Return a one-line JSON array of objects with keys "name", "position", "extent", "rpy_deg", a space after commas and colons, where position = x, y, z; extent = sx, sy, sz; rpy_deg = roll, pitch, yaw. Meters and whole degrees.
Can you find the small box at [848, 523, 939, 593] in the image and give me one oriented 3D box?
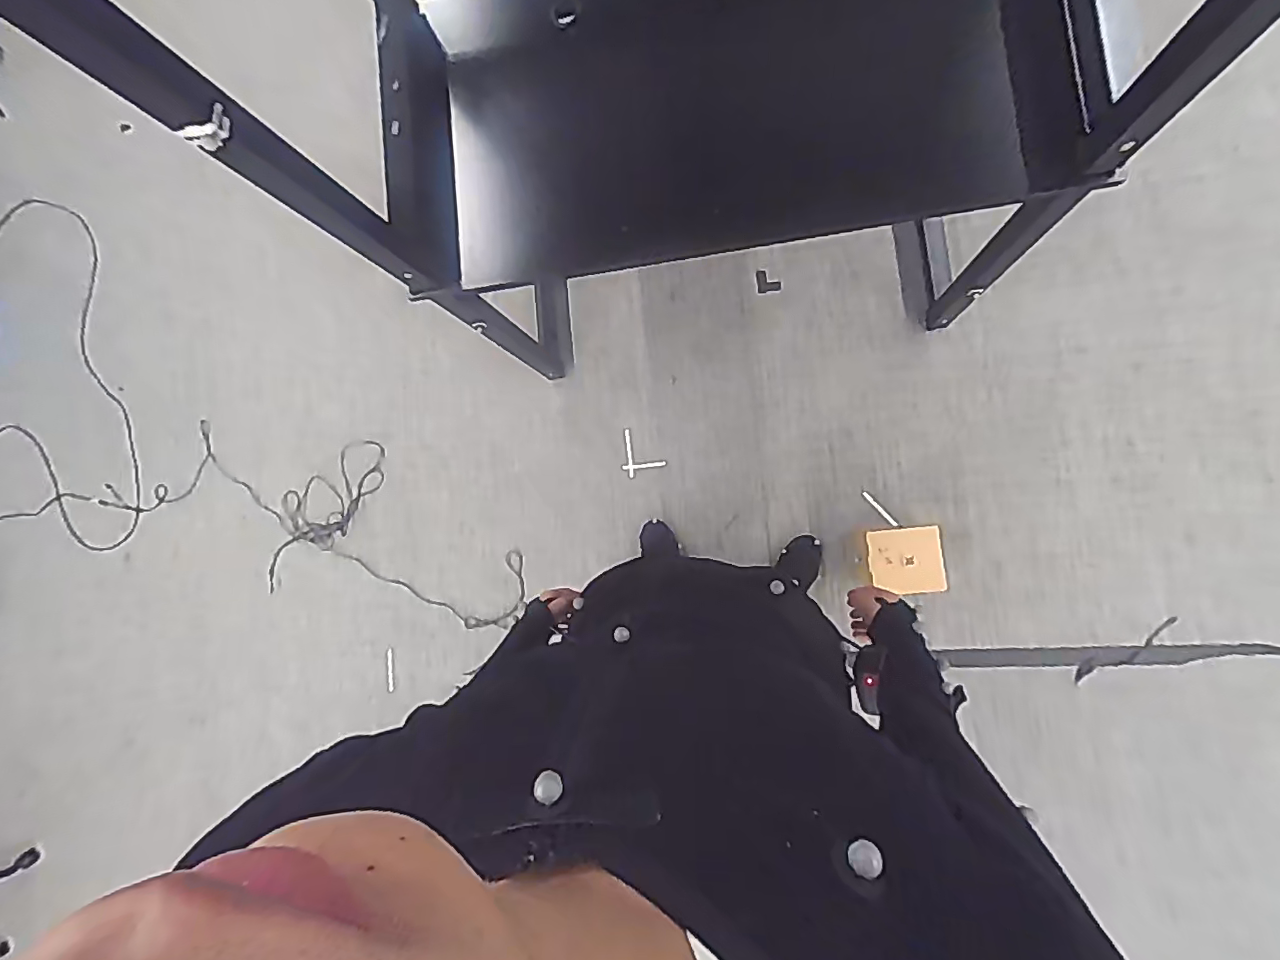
[{"name": "small box", "position": [0.672, 0.205, 1.451], "extent": [0.179, 0.176, 0.168], "rpy_deg": [-6, 86, 11]}]
